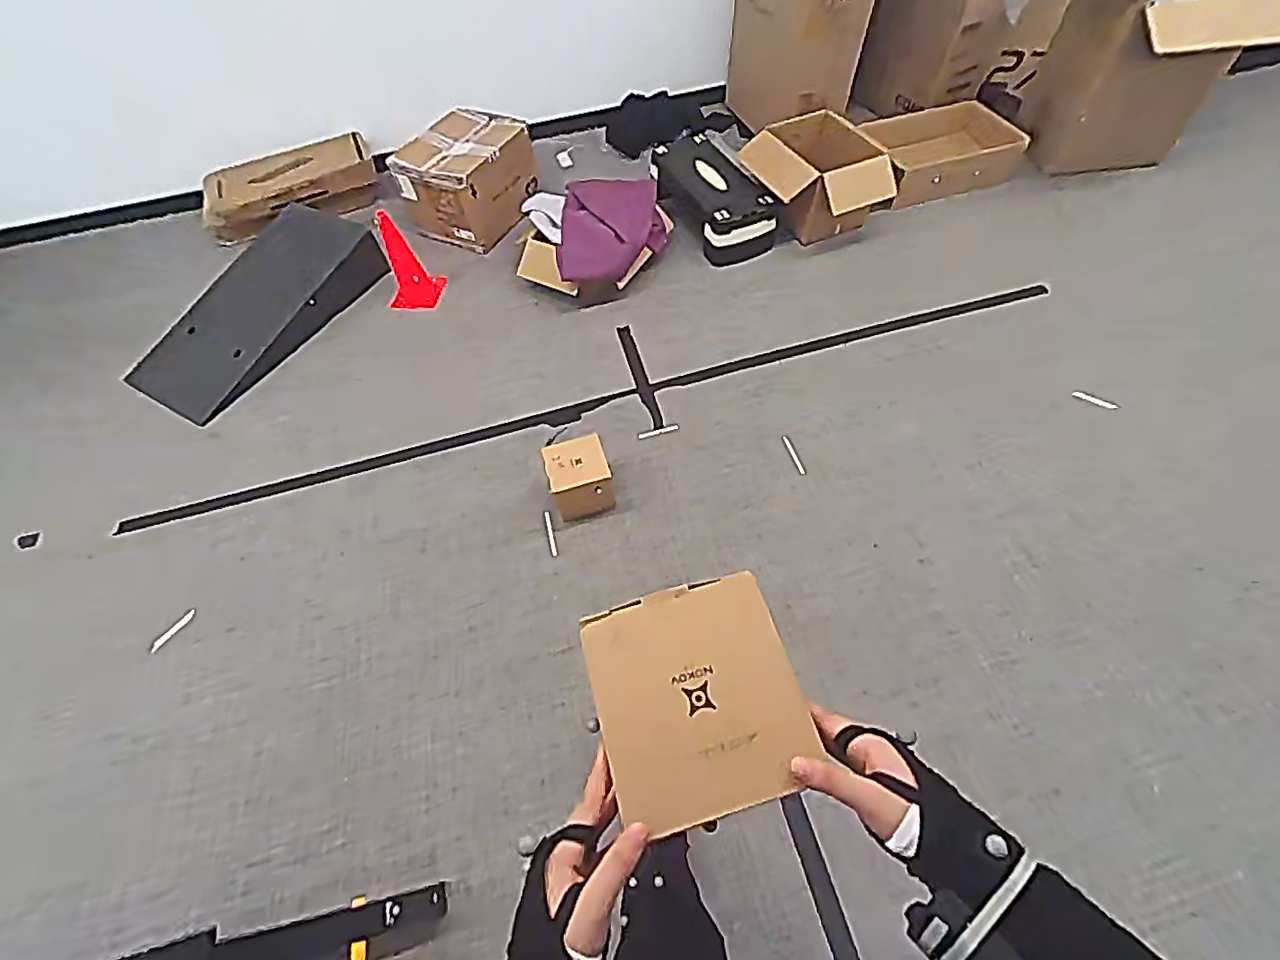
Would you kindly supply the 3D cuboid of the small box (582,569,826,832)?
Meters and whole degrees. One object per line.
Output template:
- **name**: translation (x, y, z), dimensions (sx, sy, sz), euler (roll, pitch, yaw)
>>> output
- **small box**: translation (0.047, 0.211, 0.521), dimensions (0.168, 0.176, 0.179), euler (-14, 63, -6)

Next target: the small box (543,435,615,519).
- **small box**: translation (-0.177, -0.005, 1.626), dimensions (0.179, 0.176, 0.168), euler (-16, 58, -6)
